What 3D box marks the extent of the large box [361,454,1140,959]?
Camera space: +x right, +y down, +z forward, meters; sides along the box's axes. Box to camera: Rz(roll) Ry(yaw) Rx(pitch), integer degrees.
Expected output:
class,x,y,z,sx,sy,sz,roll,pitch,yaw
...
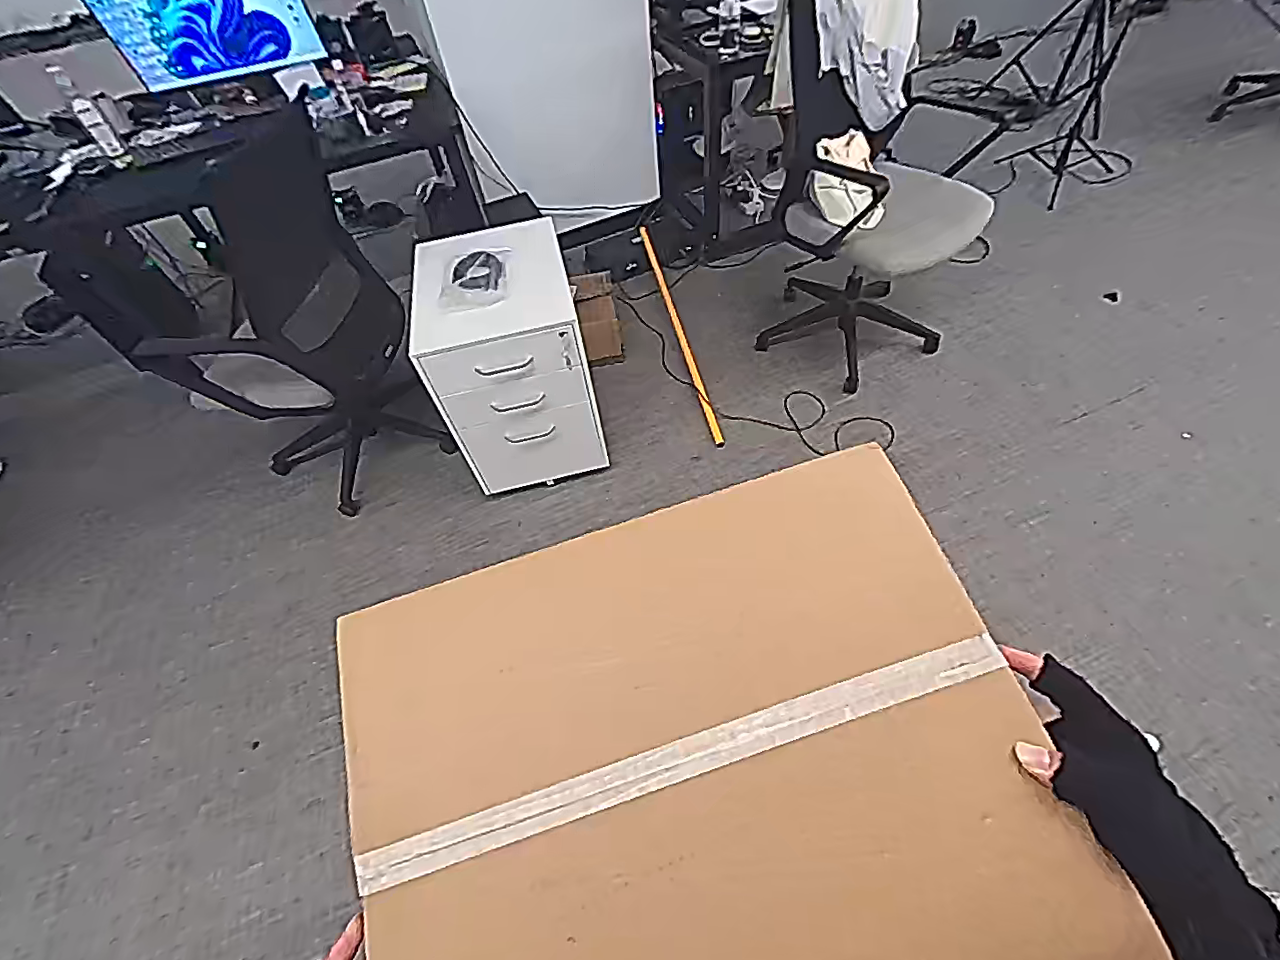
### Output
class,x,y,z,sx,sy,sz,roll,pitch,yaw
large box,0.045,0.235,0.470,0.408,0.320,0.320,-19,67,-2
